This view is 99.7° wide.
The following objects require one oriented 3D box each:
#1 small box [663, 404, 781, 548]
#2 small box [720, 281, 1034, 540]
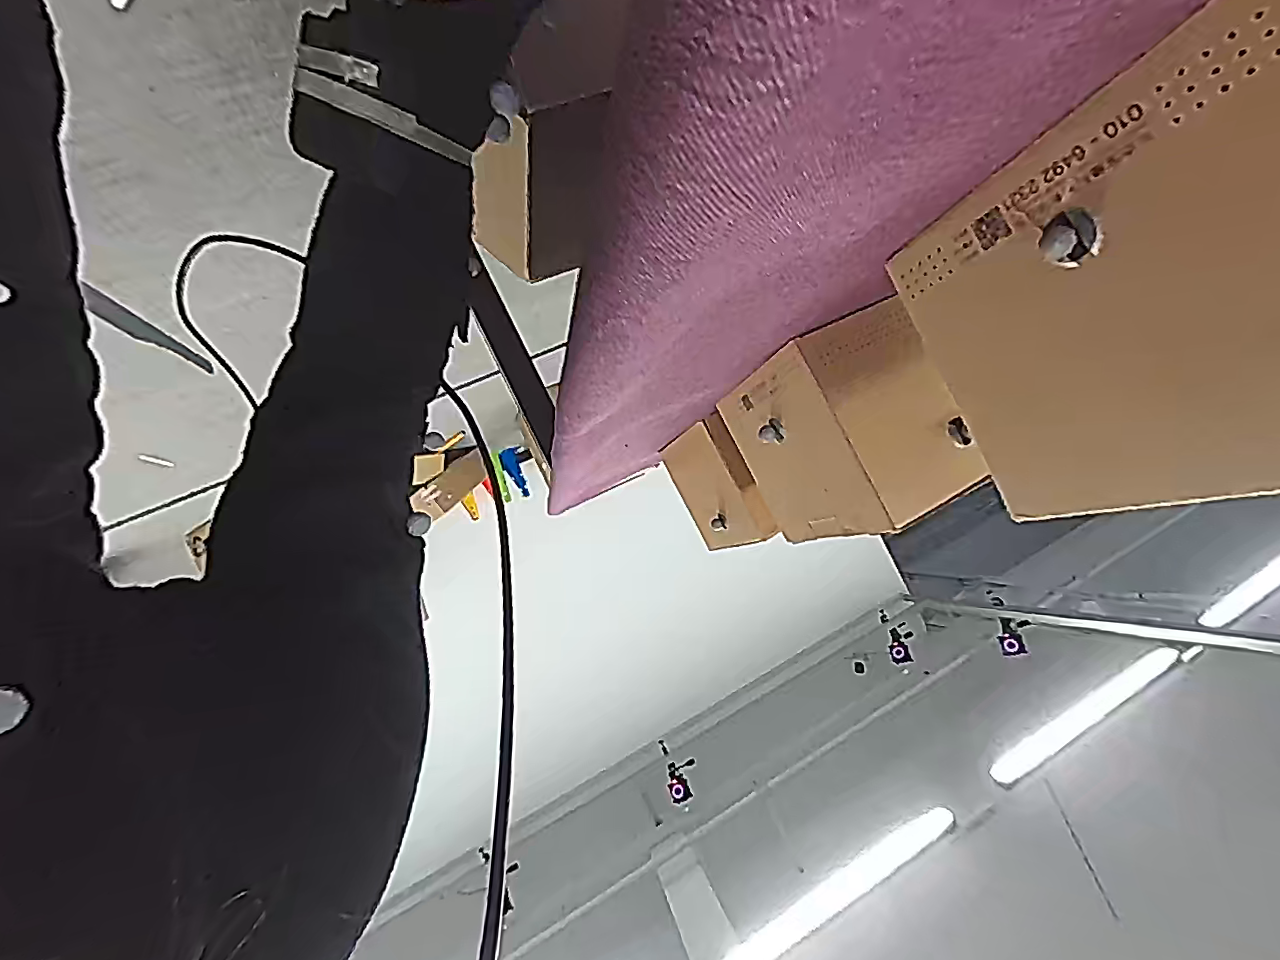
[{"bbox_3d":[0.152,-0.022,0.744,0.168,0.176,0.179,-27,177,-19],"label":"small box"},{"bbox_3d":[0.209,-0.059,0.513,0.179,0.176,0.168,-26,177,-17],"label":"small box"}]
